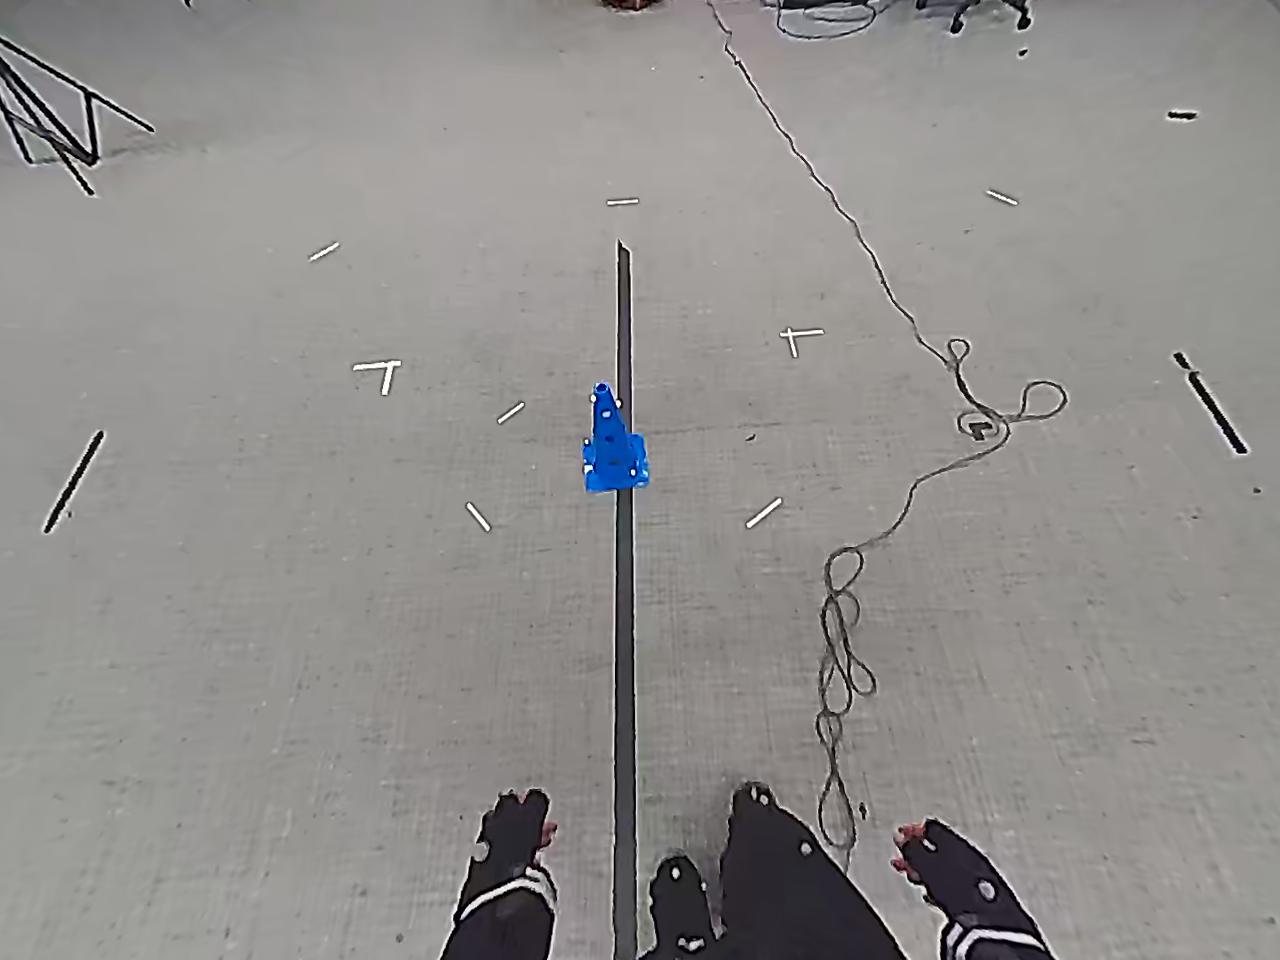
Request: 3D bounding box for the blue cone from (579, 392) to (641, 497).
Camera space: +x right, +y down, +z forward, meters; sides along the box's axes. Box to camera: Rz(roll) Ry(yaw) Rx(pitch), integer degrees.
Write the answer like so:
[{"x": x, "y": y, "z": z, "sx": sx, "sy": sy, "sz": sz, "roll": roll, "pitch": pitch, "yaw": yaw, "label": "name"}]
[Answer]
[{"x": -0.109, "y": -0.122, "z": 1.573, "sx": 0.192, "sy": 0.380, "sz": 0.193, "roll": -7, "pitch": 58, "yaw": 1, "label": "blue cone"}]
